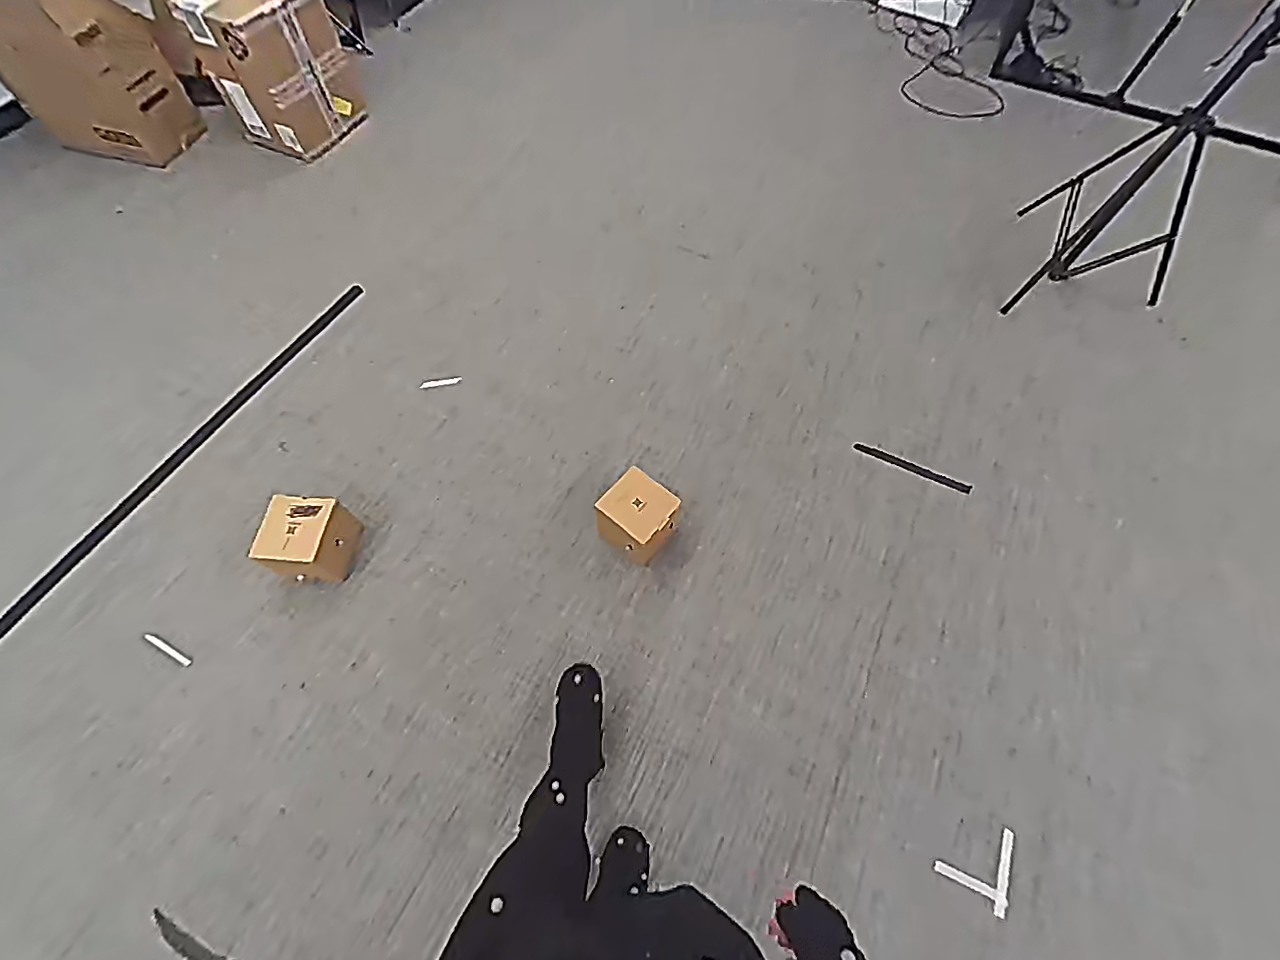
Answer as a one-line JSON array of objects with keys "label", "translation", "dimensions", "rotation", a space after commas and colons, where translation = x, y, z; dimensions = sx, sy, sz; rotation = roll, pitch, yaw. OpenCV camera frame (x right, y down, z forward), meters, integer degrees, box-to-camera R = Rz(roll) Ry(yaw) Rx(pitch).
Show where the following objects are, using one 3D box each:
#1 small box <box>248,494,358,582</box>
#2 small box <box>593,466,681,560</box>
[{"label": "small box", "translation": [-0.879, 0.156, 1.433], "dimensions": [0.168, 0.176, 0.179], "rotation": [4, 63, 1]}, {"label": "small box", "translation": [-0.009, 0.099, 1.494], "dimensions": [0.179, 0.176, 0.168], "rotation": [36, 66, 17]}]
